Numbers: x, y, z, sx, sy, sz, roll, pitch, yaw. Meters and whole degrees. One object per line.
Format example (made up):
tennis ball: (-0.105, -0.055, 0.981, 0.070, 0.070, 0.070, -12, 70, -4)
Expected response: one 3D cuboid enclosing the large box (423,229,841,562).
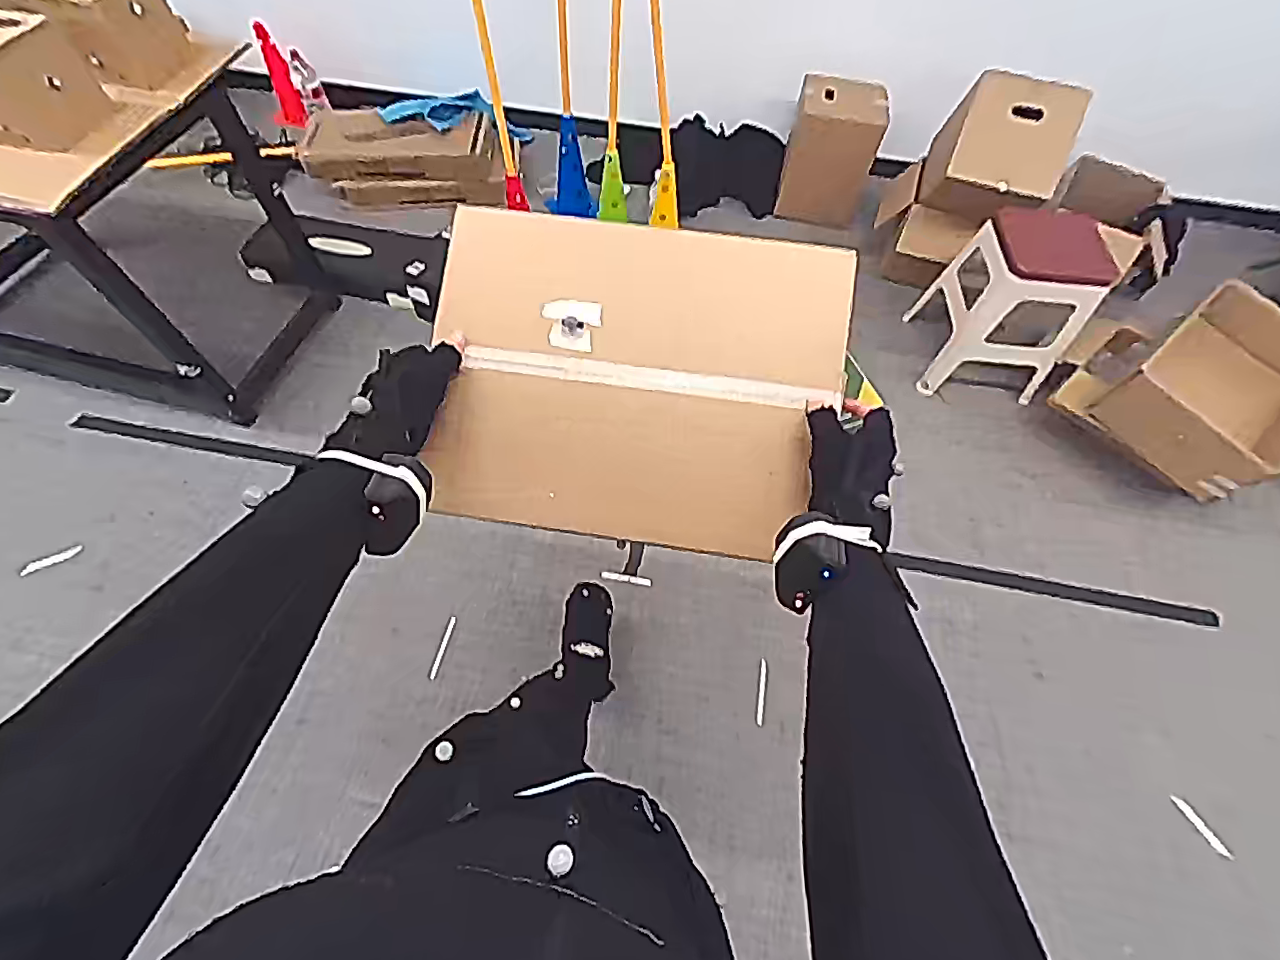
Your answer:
large box: (0.002, -0.081, 0.701, 0.408, 0.320, 0.320, 8, 84, 4)
